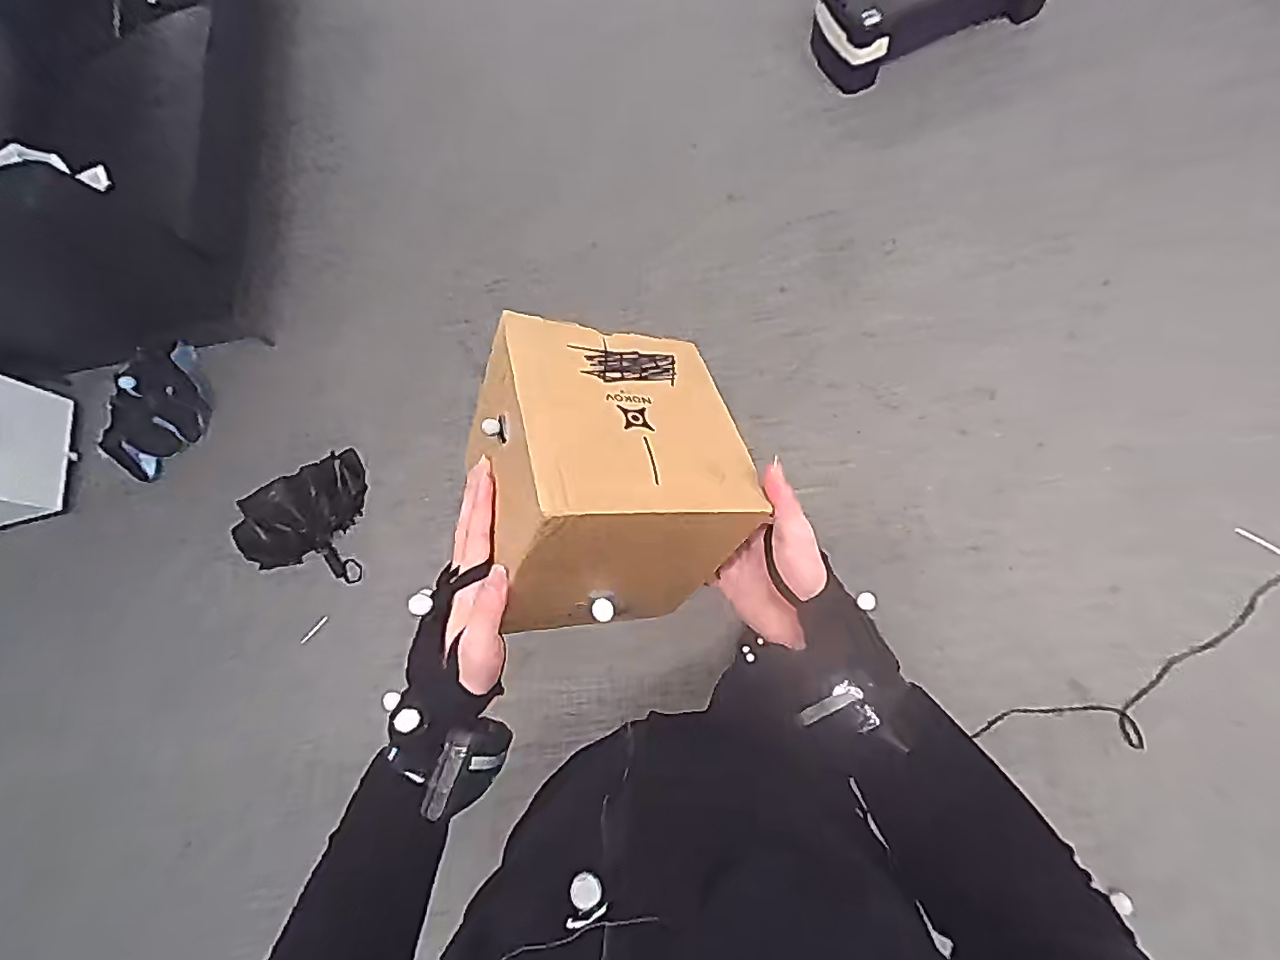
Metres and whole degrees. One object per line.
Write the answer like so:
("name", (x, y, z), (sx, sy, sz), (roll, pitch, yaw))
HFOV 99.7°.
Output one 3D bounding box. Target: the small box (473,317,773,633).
("small box", (-0.033, 0.002, 0.435), (0.168, 0.176, 0.179), (1, 53, -28))
